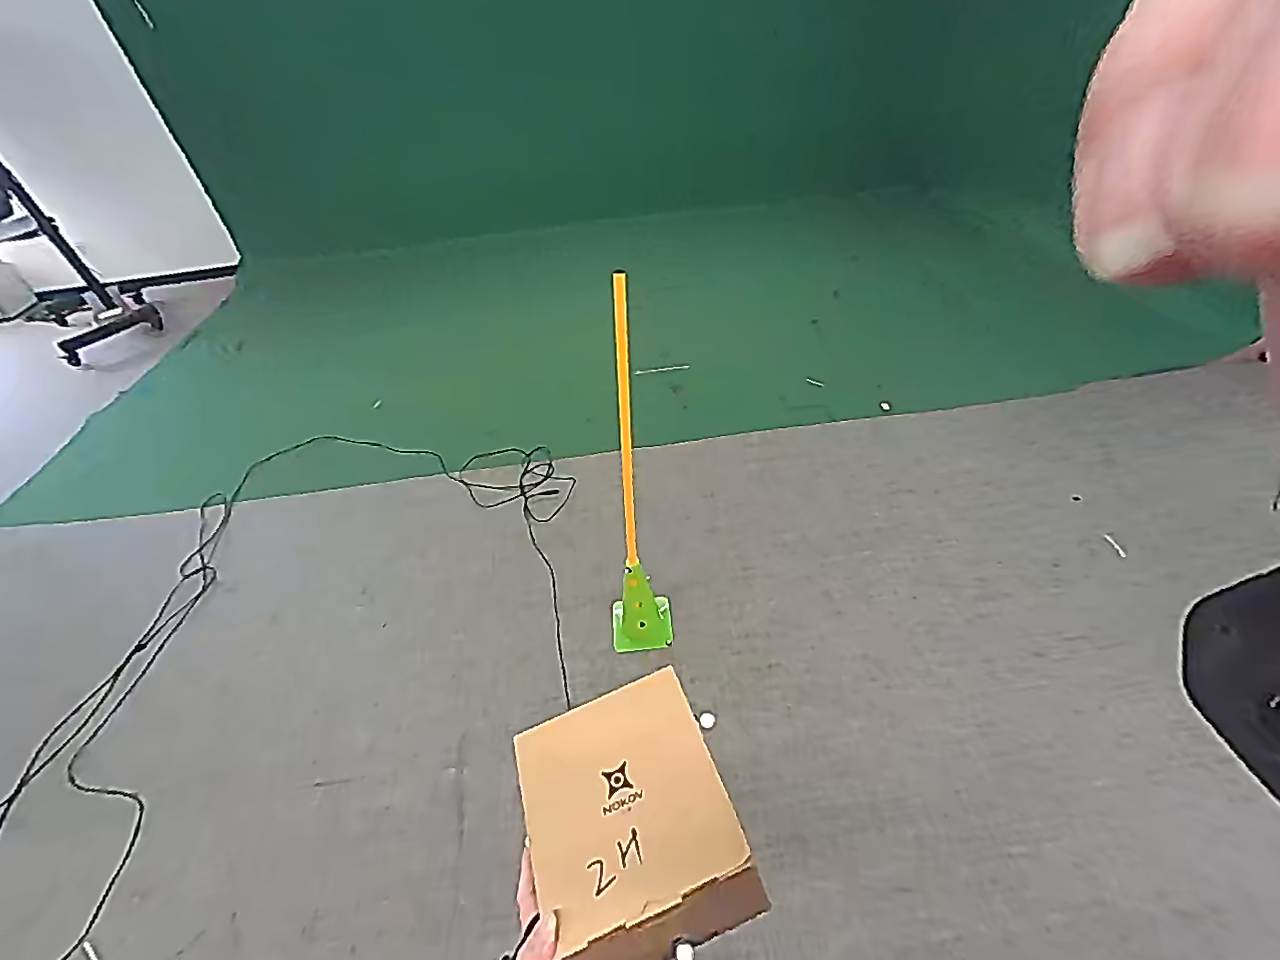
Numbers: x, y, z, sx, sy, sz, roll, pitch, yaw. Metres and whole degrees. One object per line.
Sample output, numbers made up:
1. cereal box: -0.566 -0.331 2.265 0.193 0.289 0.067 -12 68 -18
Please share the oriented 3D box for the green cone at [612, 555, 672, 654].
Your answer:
1. green cone: -0.014 0.366 1.727 0.202 0.368 0.200 -7 42 1
